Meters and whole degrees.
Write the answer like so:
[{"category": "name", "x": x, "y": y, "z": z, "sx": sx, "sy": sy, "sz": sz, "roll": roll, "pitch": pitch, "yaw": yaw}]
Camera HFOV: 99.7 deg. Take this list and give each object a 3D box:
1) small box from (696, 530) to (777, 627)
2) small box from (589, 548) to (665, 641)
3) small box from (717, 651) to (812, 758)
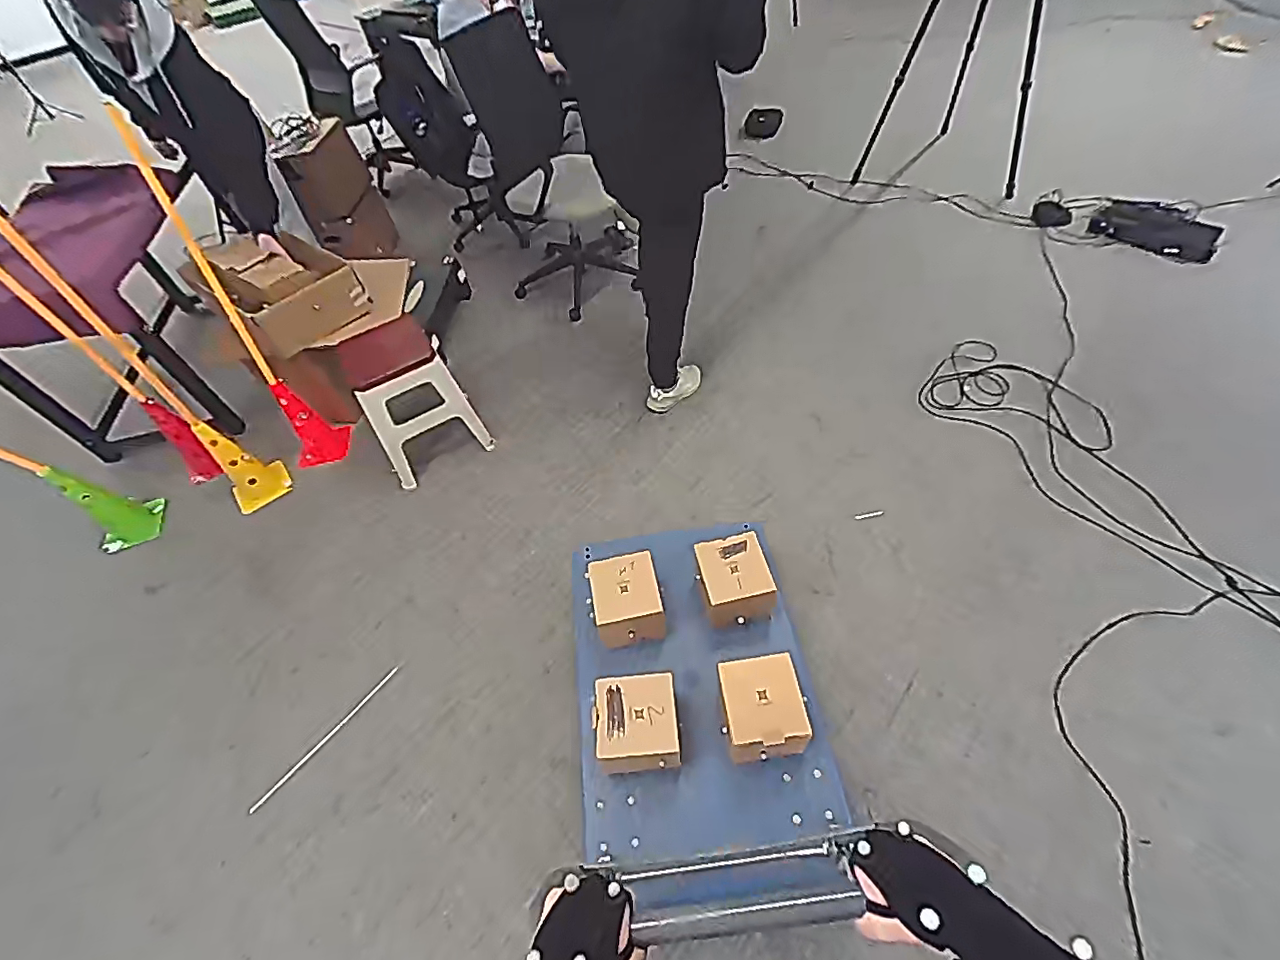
[{"category": "small box", "x": 0.244, "y": 0.259, "z": 1.415, "sx": 0.168, "sy": 0.176, "sz": 0.179, "roll": -12, "pitch": 54, "yaw": -2}, {"category": "small box", "x": -0.031, "y": 0.305, "z": 1.409, "sx": 0.168, "sy": 0.176, "sz": 0.179, "roll": -10, "pitch": 53, "yaw": -3}, {"category": "small box", "x": 0.271, "y": 0.510, "z": 1.224, "sx": 0.168, "sy": 0.176, "sz": 0.179, "roll": -8, "pitch": 53, "yaw": 0}]
